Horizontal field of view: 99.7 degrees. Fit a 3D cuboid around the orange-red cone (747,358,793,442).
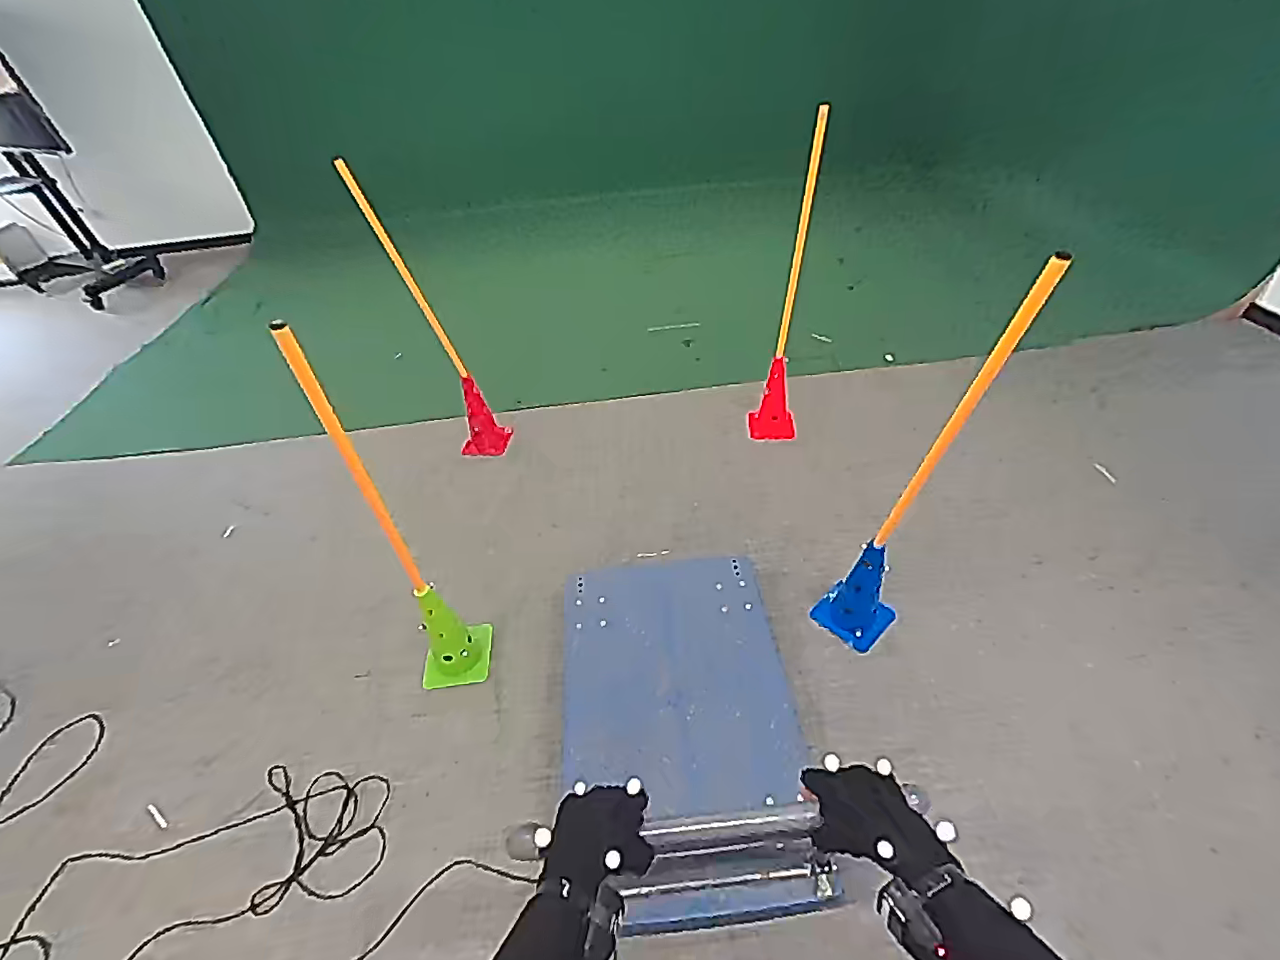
[{"bbox_3d":[0.567,-0.354,2.307,0.198,0.360,0.199,0,44,7],"label":"orange-red cone"}]
